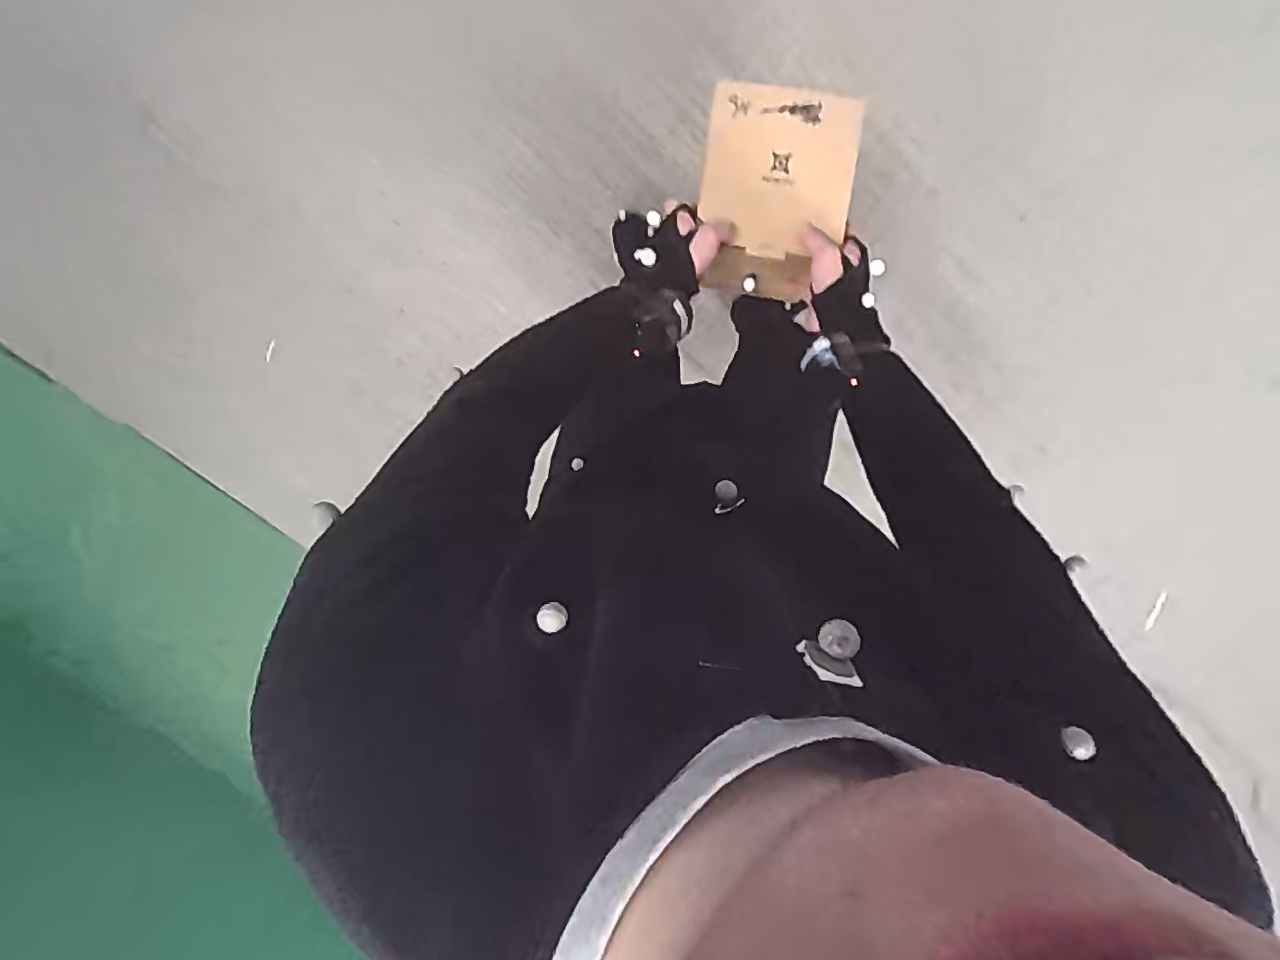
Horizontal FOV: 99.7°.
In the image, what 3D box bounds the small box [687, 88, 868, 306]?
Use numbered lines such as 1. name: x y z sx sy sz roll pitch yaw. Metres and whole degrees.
1. small box: 0.152 -0.325 0.659 0.168 0.176 0.179 9 93 1
